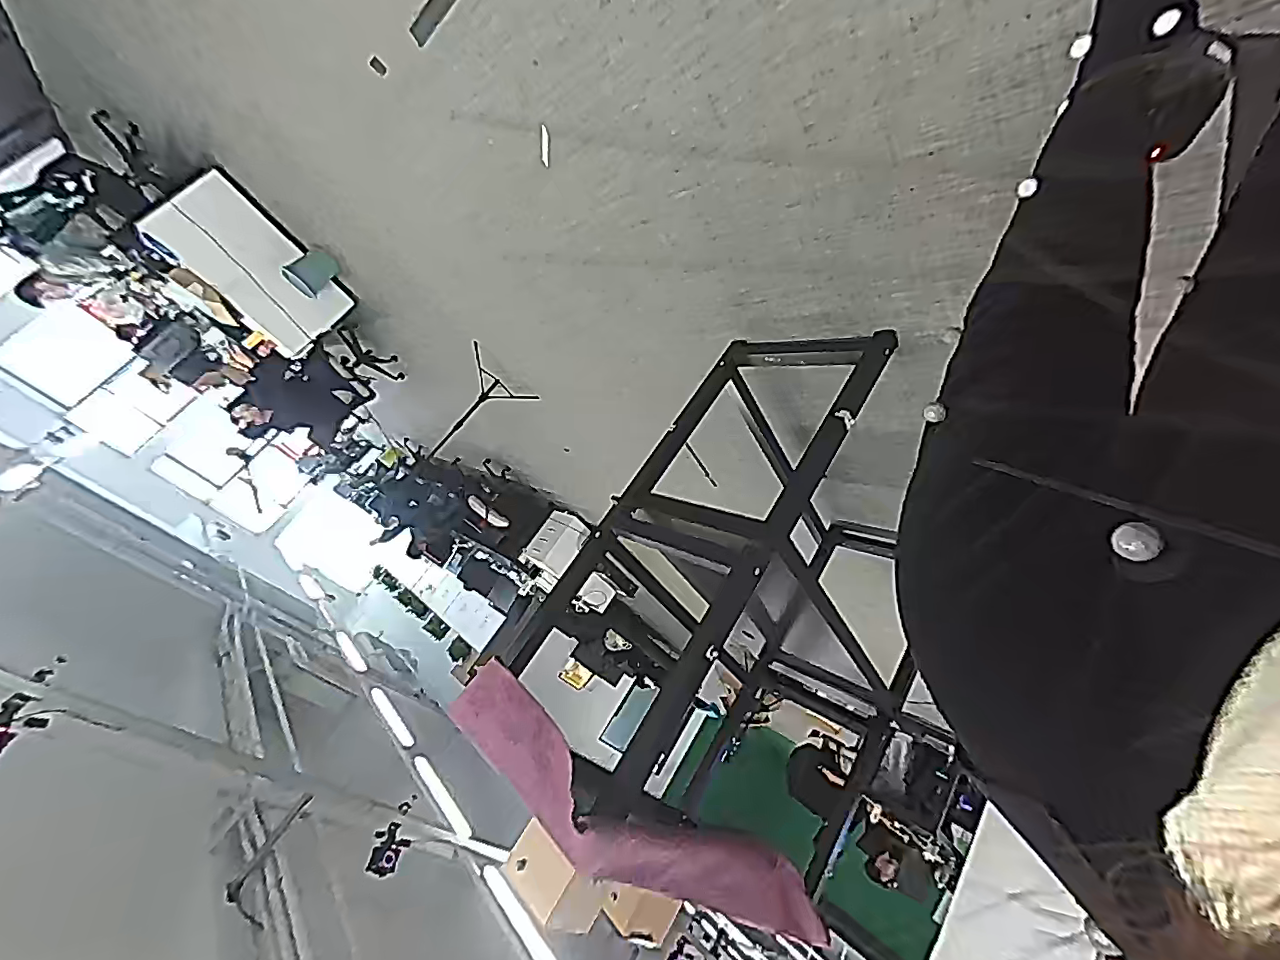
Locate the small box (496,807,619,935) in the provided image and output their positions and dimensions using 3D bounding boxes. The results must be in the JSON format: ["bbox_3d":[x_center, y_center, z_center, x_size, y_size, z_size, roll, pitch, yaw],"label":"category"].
[{"bbox_3d":[-0.181,0.870,1.220,0.179,0.176,0.168,16,154,45],"label":"small box"}]

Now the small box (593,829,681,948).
[{"bbox_3d":[-0.016,1.071,1.427,0.179,0.176,0.168,10,149,53],"label":"small box"}]
